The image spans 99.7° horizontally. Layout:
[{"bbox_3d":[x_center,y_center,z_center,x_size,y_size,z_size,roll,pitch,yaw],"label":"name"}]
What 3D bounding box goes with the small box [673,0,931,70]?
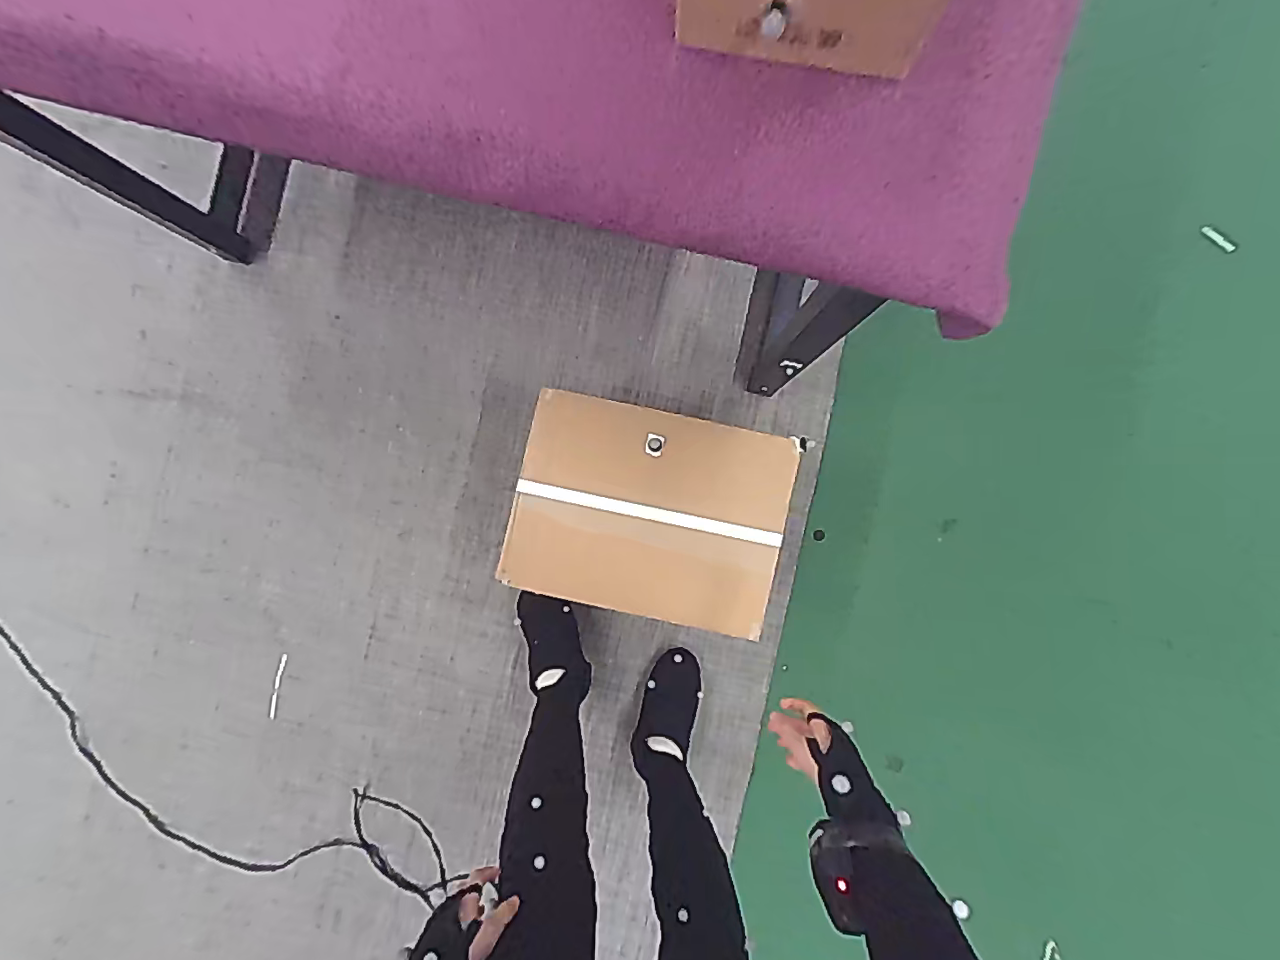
[{"bbox_3d":[0.111,-0.386,0.302,0.168,0.176,0.179,10,88,3],"label":"small box"}]
